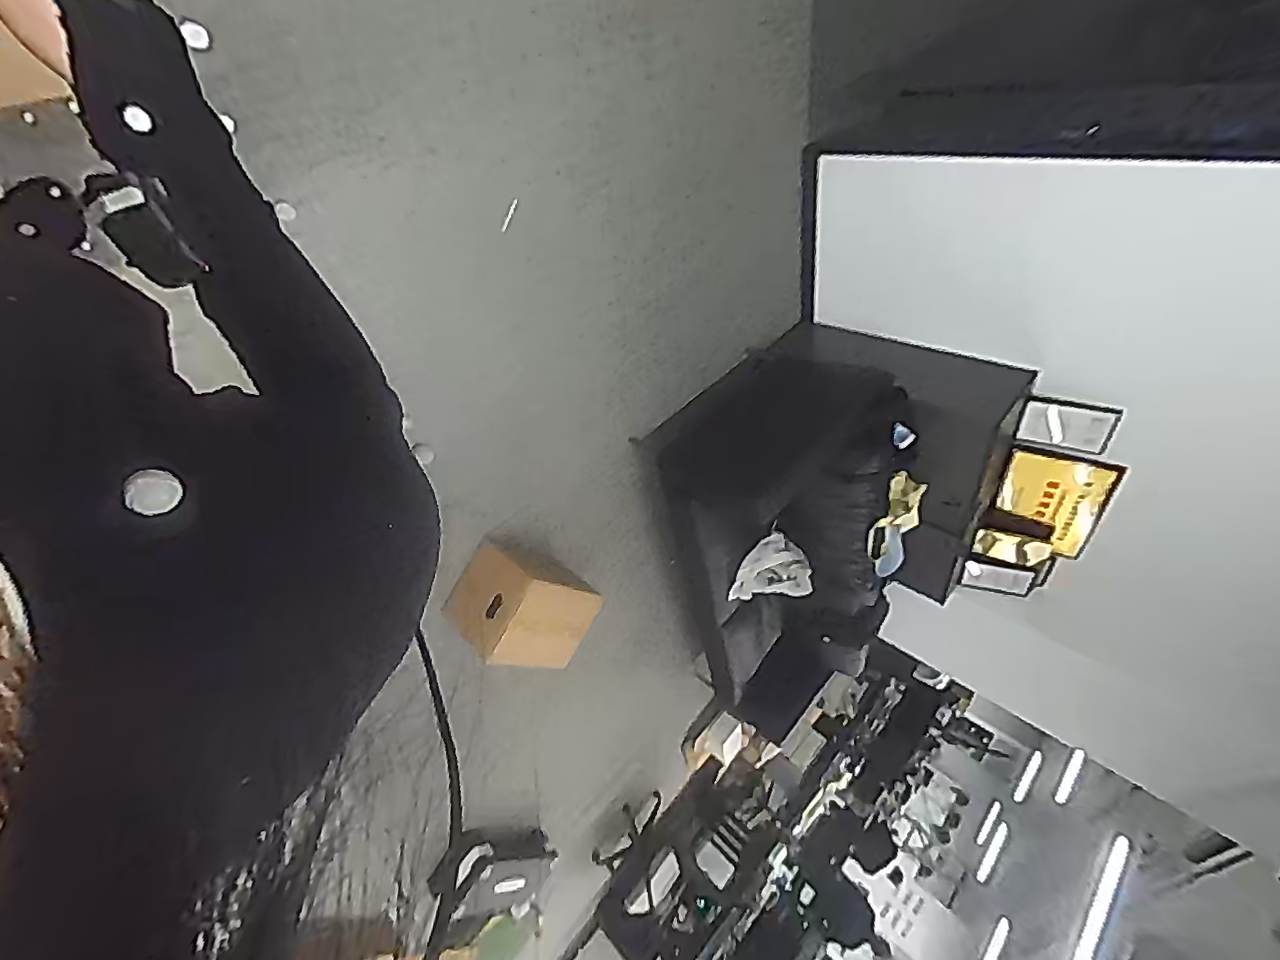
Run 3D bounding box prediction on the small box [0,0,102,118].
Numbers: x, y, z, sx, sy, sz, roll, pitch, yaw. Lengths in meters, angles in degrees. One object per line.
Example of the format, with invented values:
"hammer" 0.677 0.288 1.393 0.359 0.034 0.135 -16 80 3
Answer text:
"small box" -0.857 -0.570 0.689 0.179 0.176 0.168 -39 136 -26
